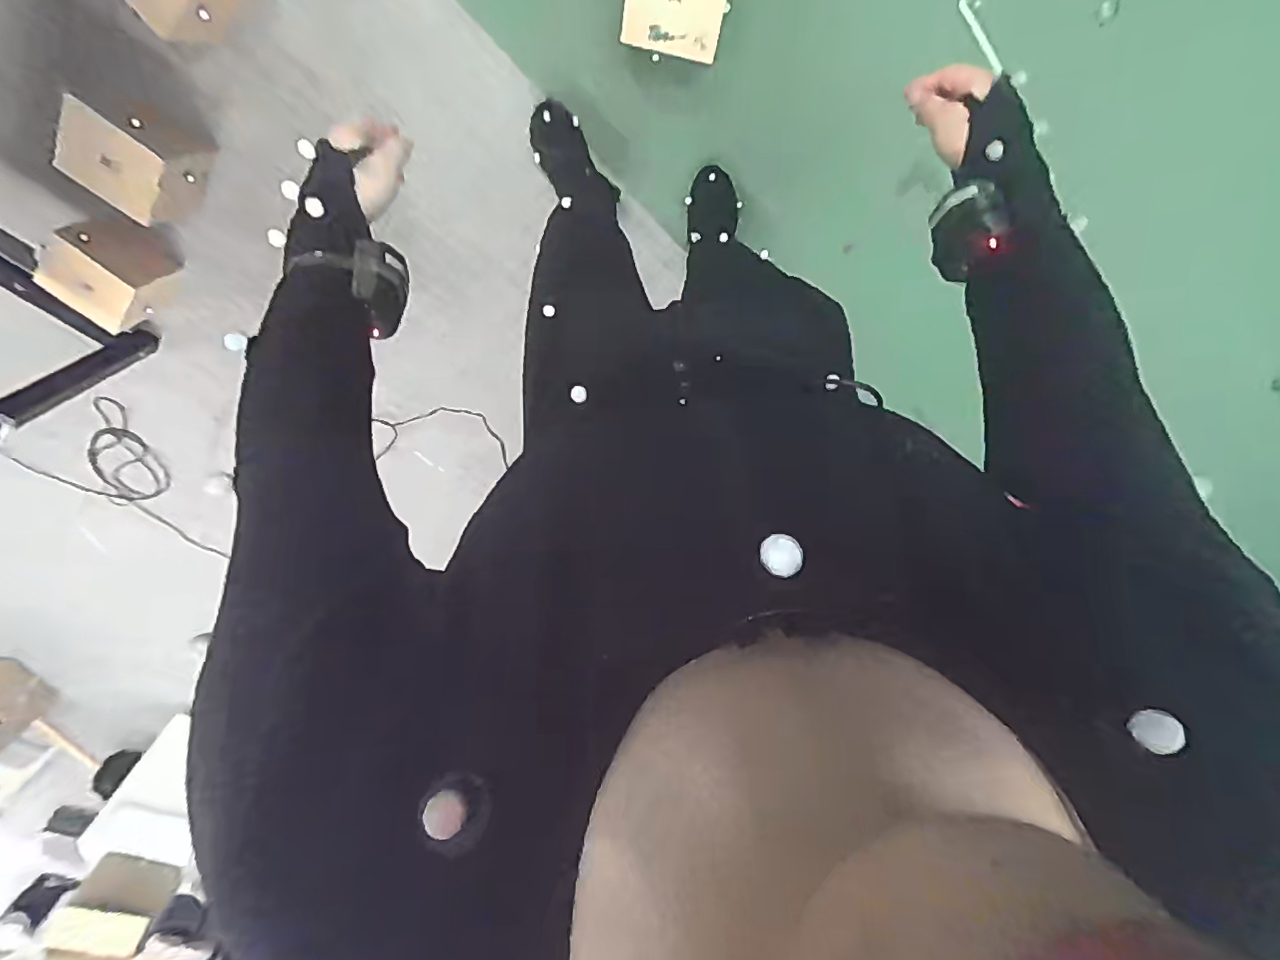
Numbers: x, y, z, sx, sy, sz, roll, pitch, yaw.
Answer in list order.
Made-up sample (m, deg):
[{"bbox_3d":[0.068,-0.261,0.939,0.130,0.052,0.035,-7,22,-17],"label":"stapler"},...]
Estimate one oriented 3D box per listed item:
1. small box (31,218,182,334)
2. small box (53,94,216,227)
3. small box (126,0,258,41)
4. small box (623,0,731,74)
[{"bbox_3d":[-1.257,-0.489,1.287,0.168,0.176,0.179,-35,117,26],"label":"small box"},{"bbox_3d":[-1.047,-0.673,1.133,0.179,0.176,0.168,36,120,-21],"label":"small box"},{"bbox_3d":[-0.806,-0.909,0.941,0.179,0.176,0.168,-27,121,20],"label":"small box"},{"bbox_3d":[0.069,-0.838,0.946,0.168,0.176,0.179,11,126,-5],"label":"small box"}]
